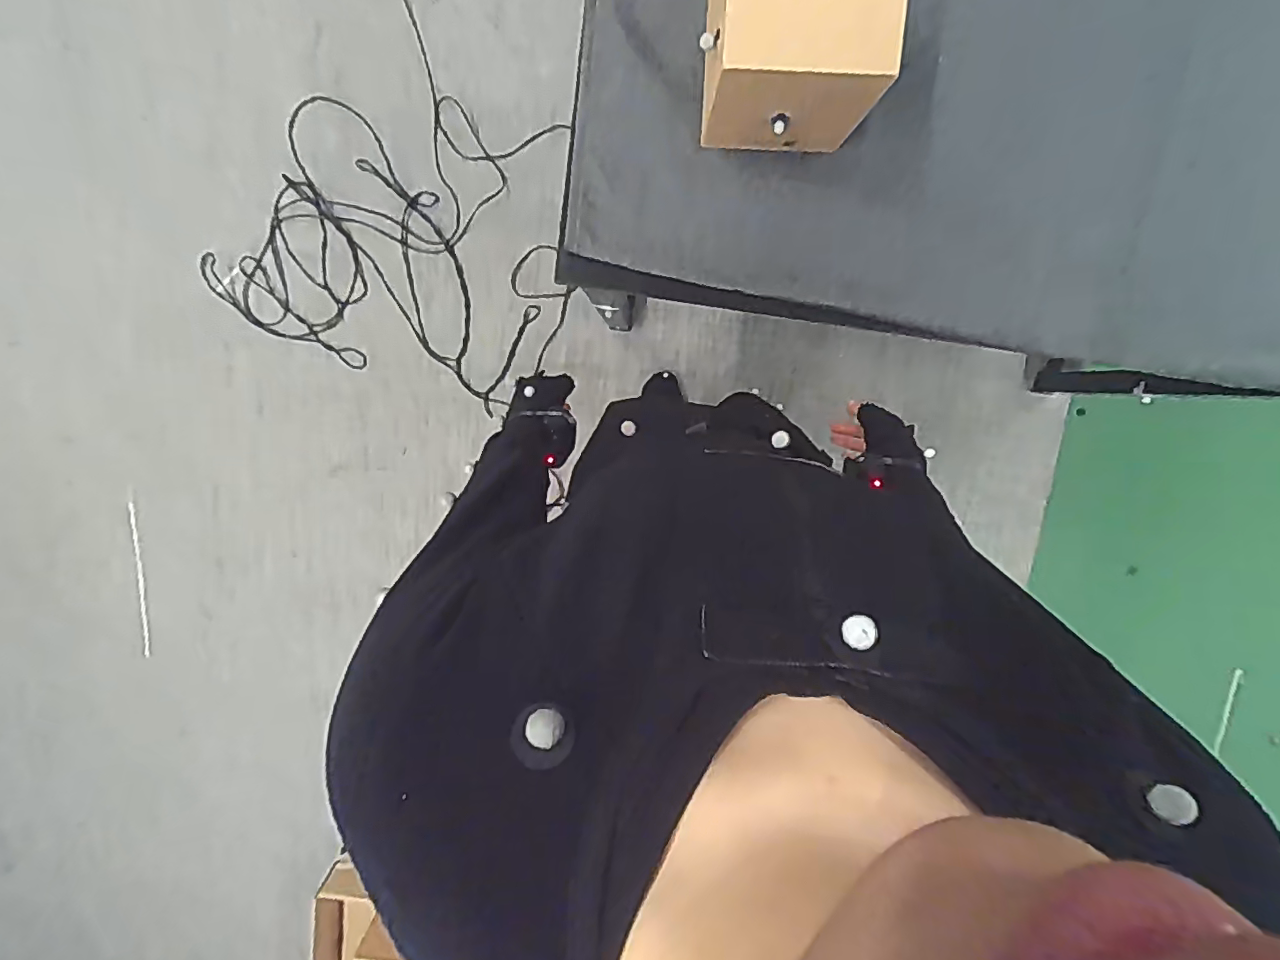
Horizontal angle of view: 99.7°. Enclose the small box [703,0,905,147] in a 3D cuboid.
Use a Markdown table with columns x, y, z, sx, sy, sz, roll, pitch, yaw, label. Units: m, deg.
| x | y | z | sx | sy | sz | roll | pitch | yaw | label |
| --- | --- | --- | --- | --- | --- | --- | --- | --- | --- |
| 0.159 | -0.474 | 0.561 | 0.168 | 0.176 | 0.179 | 2 | 99 | -1 | small box |
